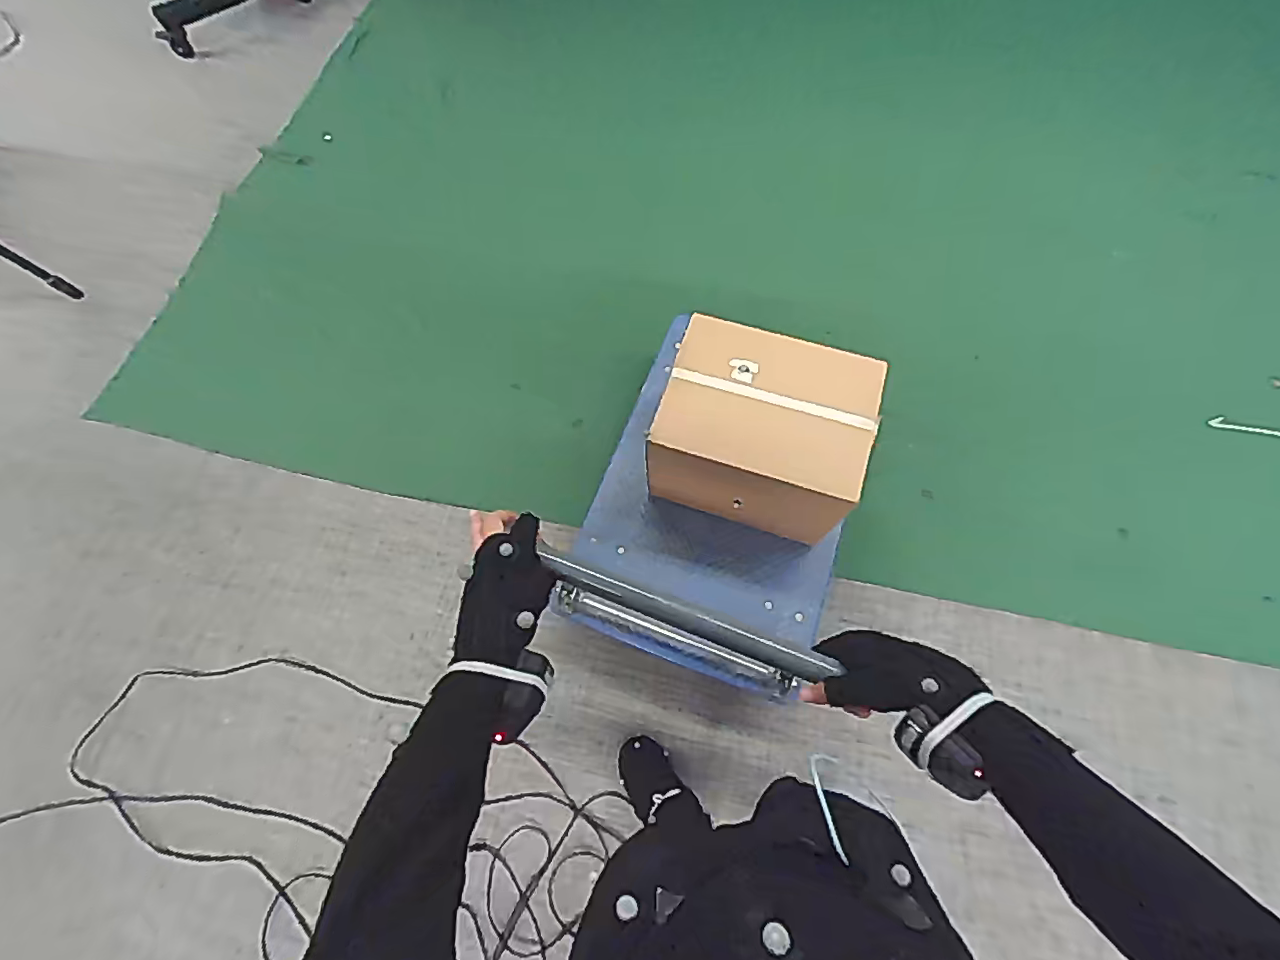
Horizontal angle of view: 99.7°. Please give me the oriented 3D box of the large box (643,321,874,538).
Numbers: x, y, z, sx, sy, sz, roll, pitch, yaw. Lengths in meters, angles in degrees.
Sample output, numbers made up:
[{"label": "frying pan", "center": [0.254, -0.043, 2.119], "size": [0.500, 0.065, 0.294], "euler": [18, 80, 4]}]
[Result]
[{"label": "large box", "center": [0.247, -0.098, 1.203], "size": [0.408, 0.320, 0.320], "euler": [17, 70, 9]}]
